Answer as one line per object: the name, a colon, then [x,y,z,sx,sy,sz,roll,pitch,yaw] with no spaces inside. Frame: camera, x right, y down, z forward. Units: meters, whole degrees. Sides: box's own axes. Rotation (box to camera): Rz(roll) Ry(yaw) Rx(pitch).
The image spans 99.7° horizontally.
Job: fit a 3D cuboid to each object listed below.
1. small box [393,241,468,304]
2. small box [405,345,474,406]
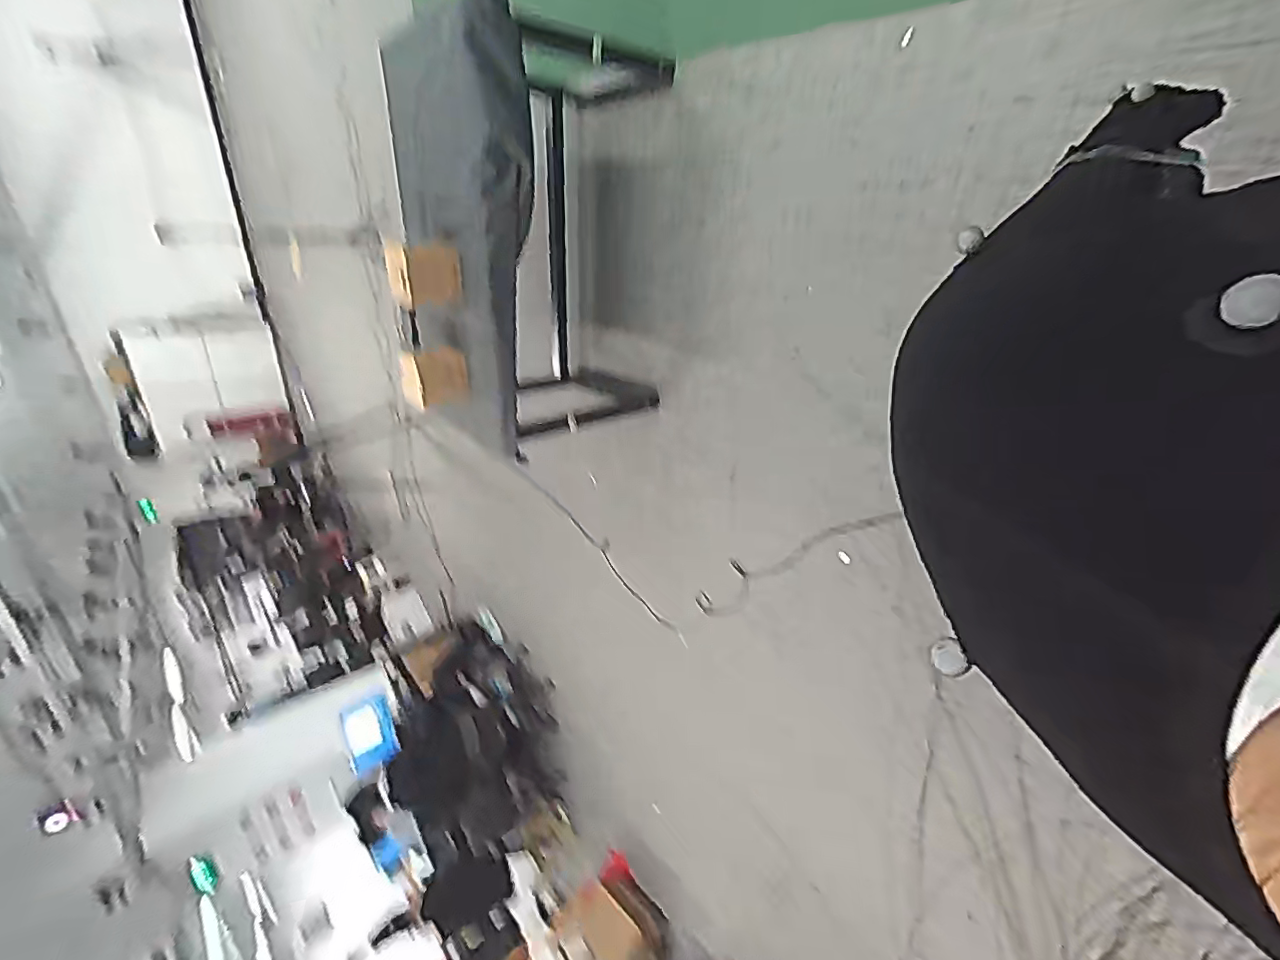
small box: [-0.652,-0.657,1.701,0.179,0.176,0.168,31,127,42]
small box: [-0.681,-0.366,1.856,0.179,0.176,0.168,26,123,43]
